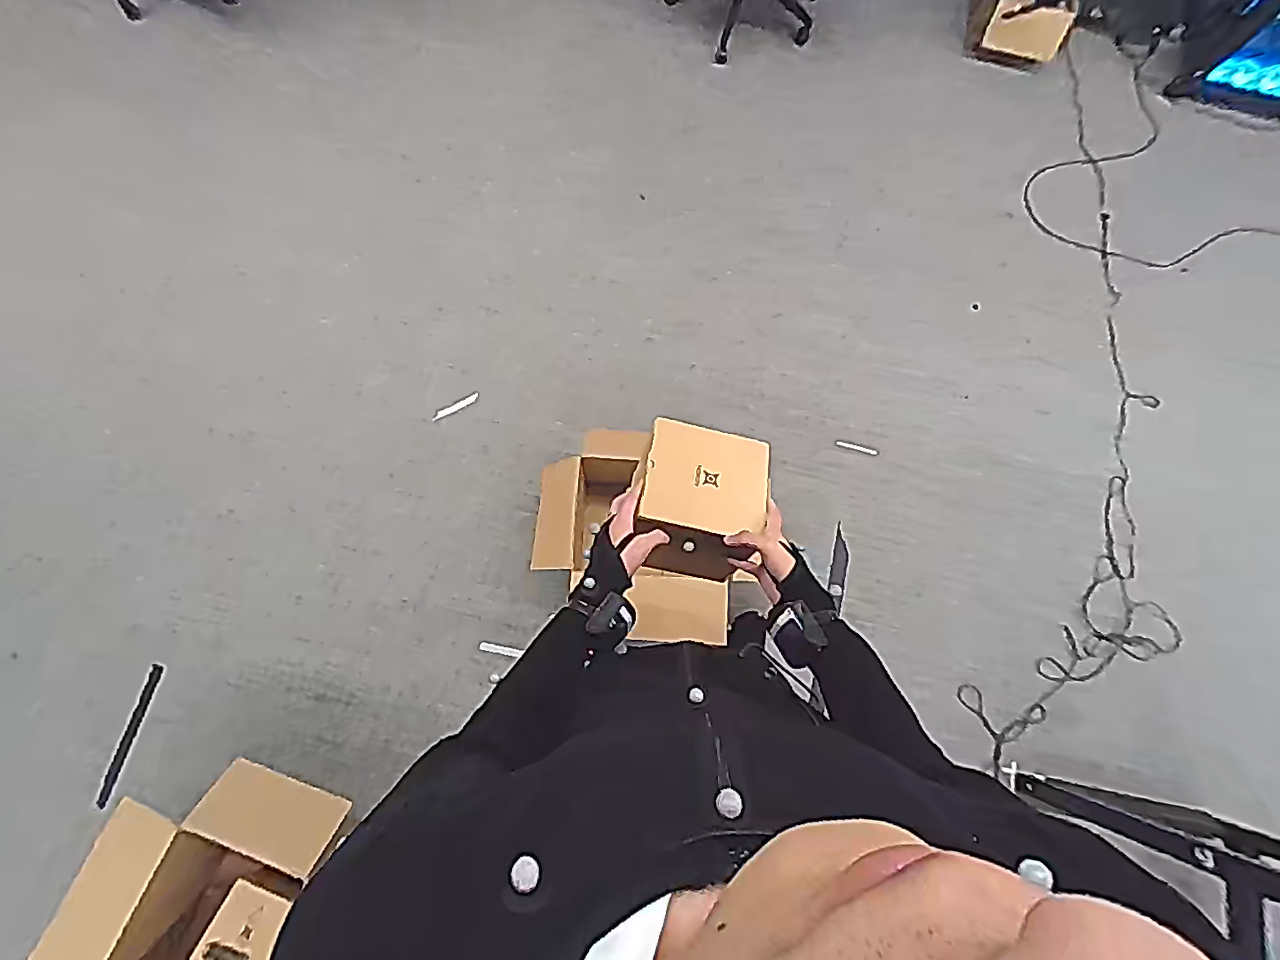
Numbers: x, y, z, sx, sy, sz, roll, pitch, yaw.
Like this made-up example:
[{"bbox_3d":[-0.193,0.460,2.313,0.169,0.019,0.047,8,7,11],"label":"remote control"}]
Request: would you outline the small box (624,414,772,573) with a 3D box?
[{"bbox_3d":[0.082,0.029,0.810,0.179,0.176,0.168,12,60,-4],"label":"small box"}]
